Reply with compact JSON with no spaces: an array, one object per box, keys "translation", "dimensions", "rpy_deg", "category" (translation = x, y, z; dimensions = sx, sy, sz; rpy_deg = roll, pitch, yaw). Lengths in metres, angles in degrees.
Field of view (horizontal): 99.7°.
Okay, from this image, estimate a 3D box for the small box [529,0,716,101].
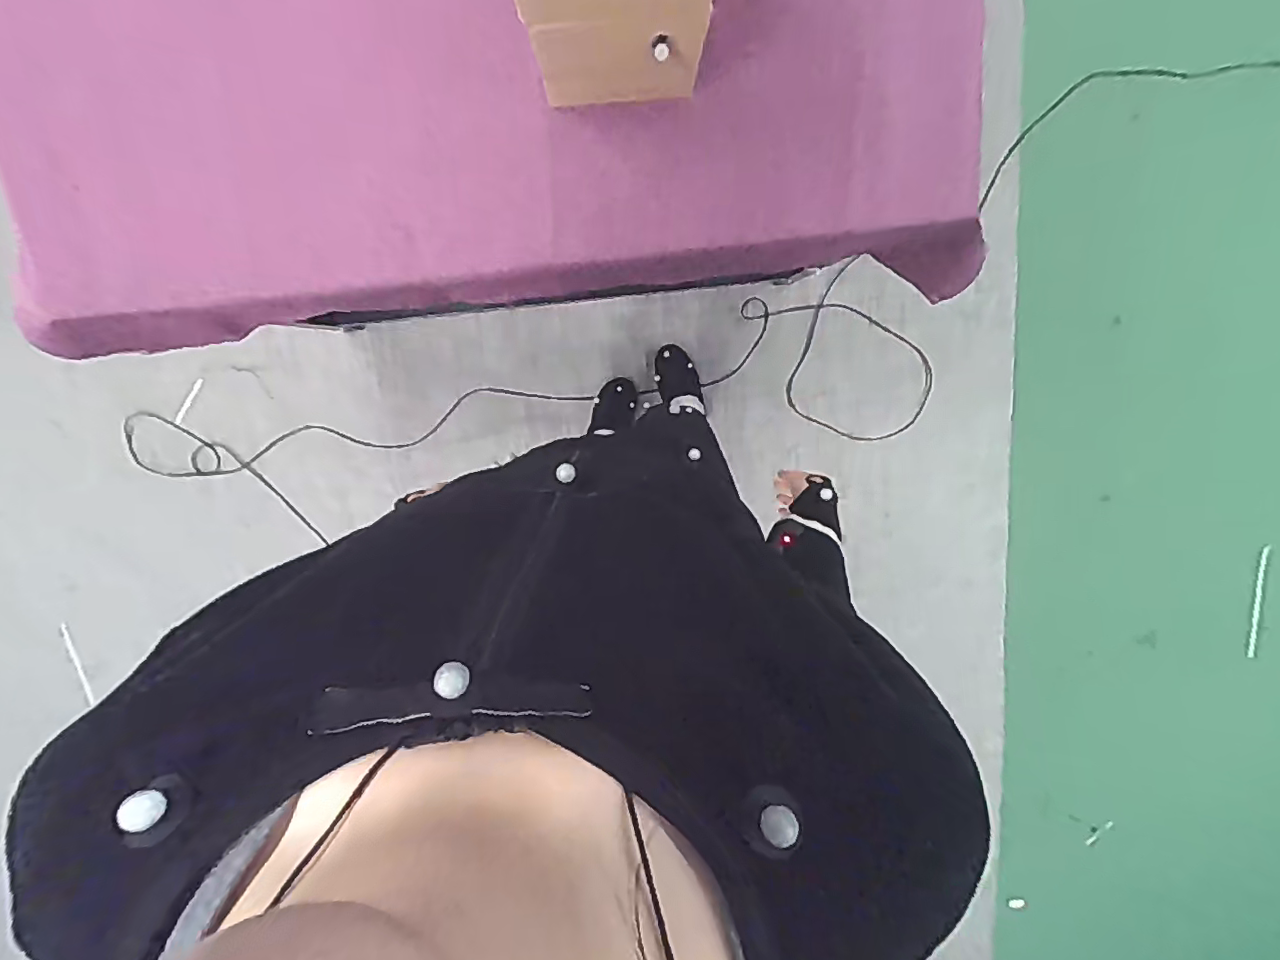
[{"translation":[-0.024,-0.526,0.561],"dimensions":[0.179,0.176,0.168],"rpy_deg":[-5,103,0],"category":"small box"}]
